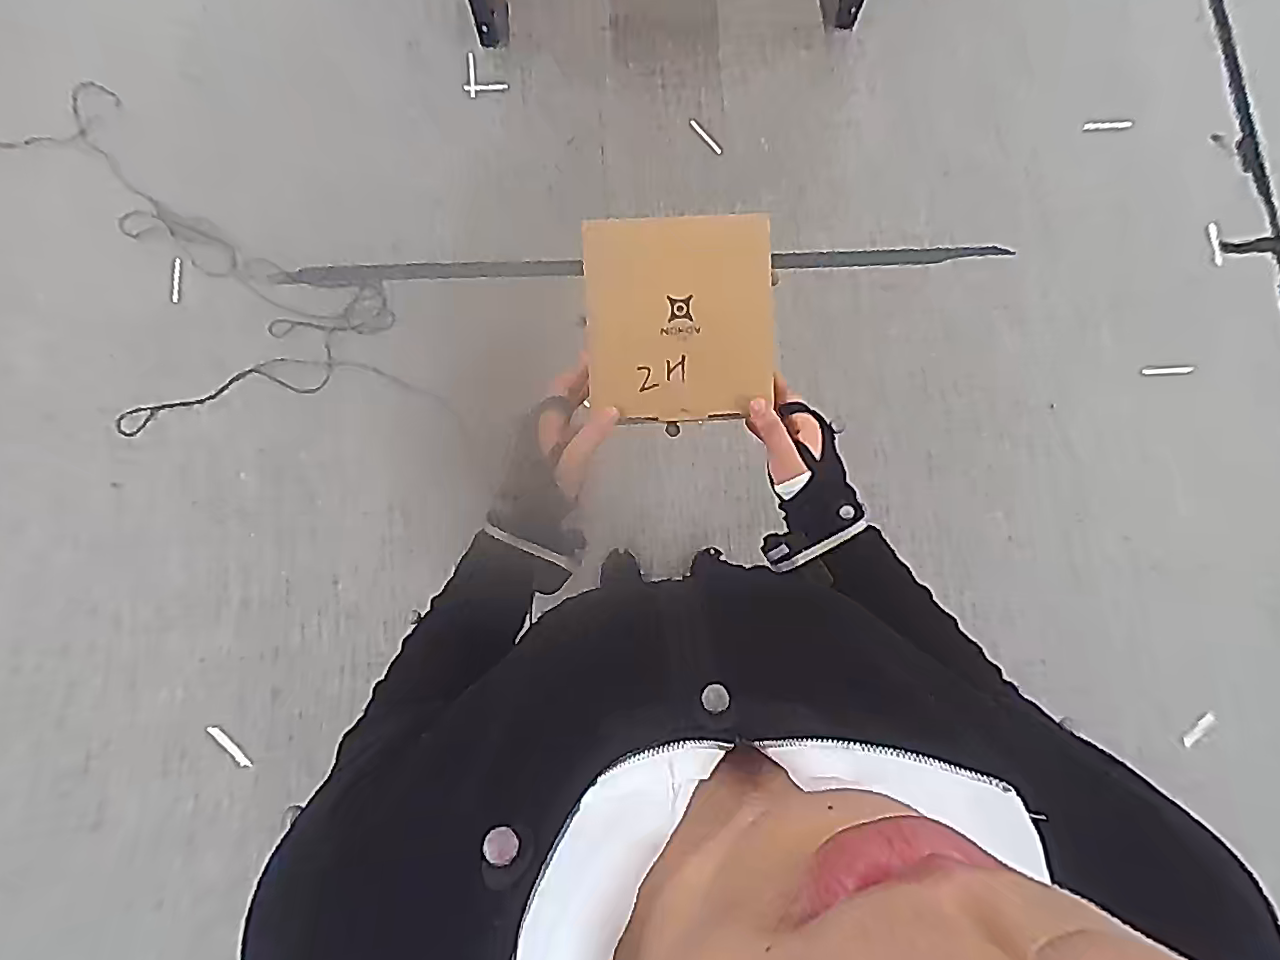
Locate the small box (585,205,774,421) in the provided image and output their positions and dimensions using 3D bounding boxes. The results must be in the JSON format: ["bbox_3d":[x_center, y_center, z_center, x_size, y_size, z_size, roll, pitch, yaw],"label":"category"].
[{"bbox_3d":[0.034,-0.155,0.553,0.168,0.176,0.179,-3,94,0],"label":"small box"}]
